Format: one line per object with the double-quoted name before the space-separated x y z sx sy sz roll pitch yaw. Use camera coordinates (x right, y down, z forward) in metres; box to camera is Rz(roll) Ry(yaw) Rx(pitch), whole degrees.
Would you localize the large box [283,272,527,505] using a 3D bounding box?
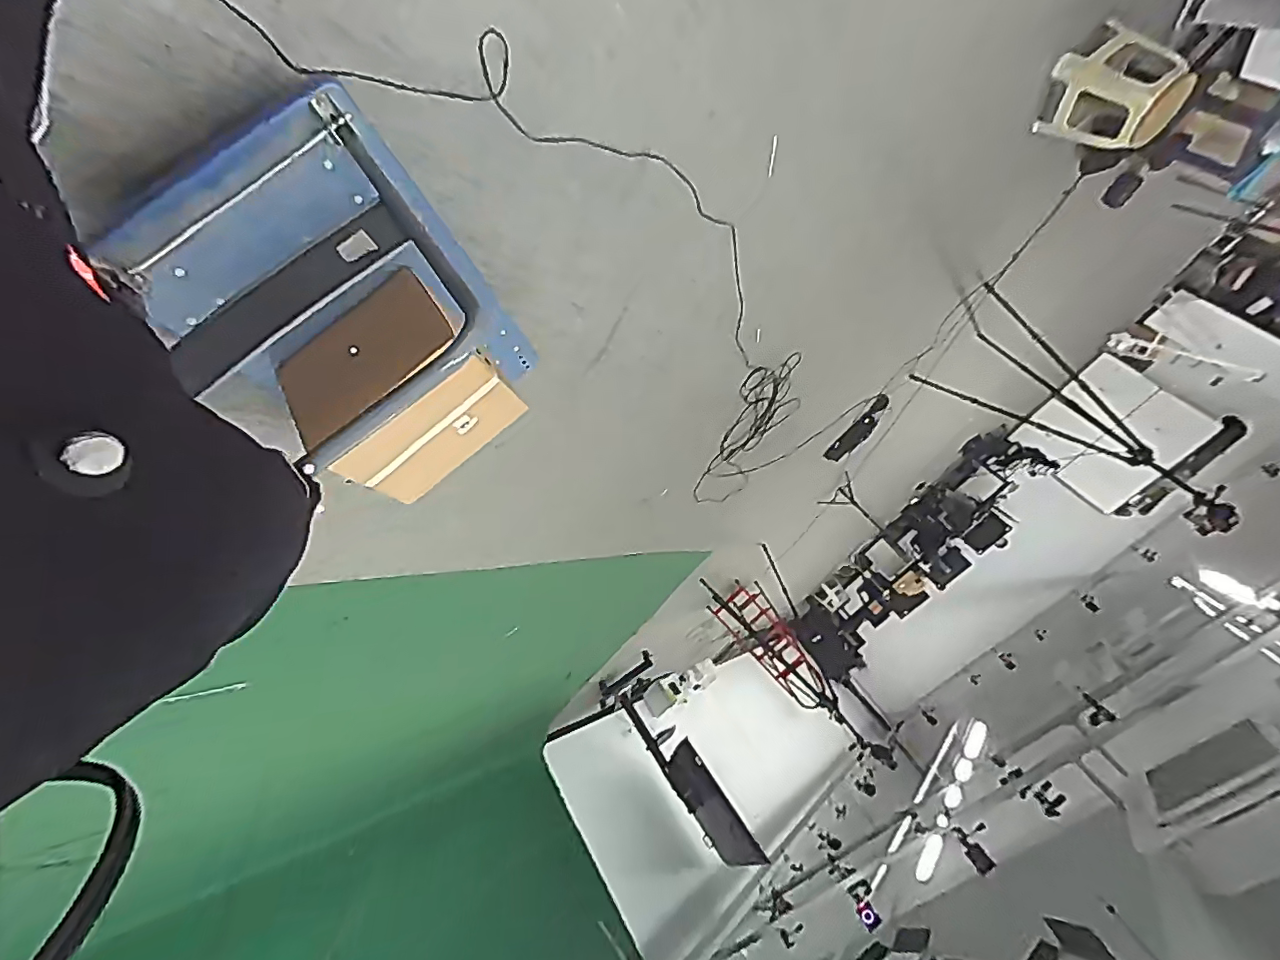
"large box" -0.571 -0.215 1.332 0.408 0.320 0.320 -41 152 1
